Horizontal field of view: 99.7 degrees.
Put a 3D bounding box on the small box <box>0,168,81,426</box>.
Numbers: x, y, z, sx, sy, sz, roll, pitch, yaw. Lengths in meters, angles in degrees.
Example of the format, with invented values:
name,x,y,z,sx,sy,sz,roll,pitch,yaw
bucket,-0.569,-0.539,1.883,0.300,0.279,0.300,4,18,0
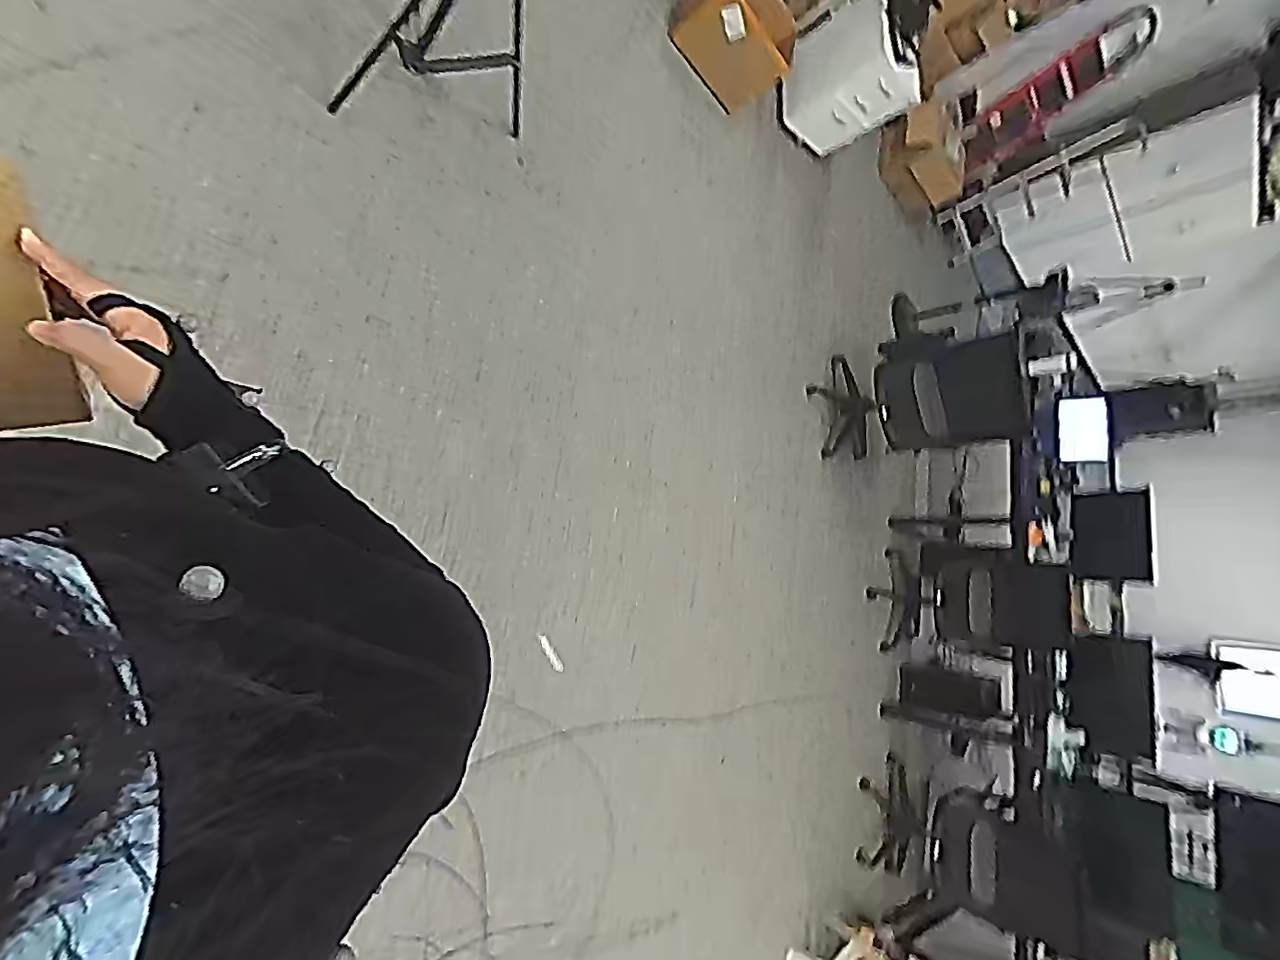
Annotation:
name,x,y,z,sx,sy,sz,roll,pitch,yaw
small box,-0.541,-0.143,0.383,0.168,0.176,0.179,-19,131,-43
